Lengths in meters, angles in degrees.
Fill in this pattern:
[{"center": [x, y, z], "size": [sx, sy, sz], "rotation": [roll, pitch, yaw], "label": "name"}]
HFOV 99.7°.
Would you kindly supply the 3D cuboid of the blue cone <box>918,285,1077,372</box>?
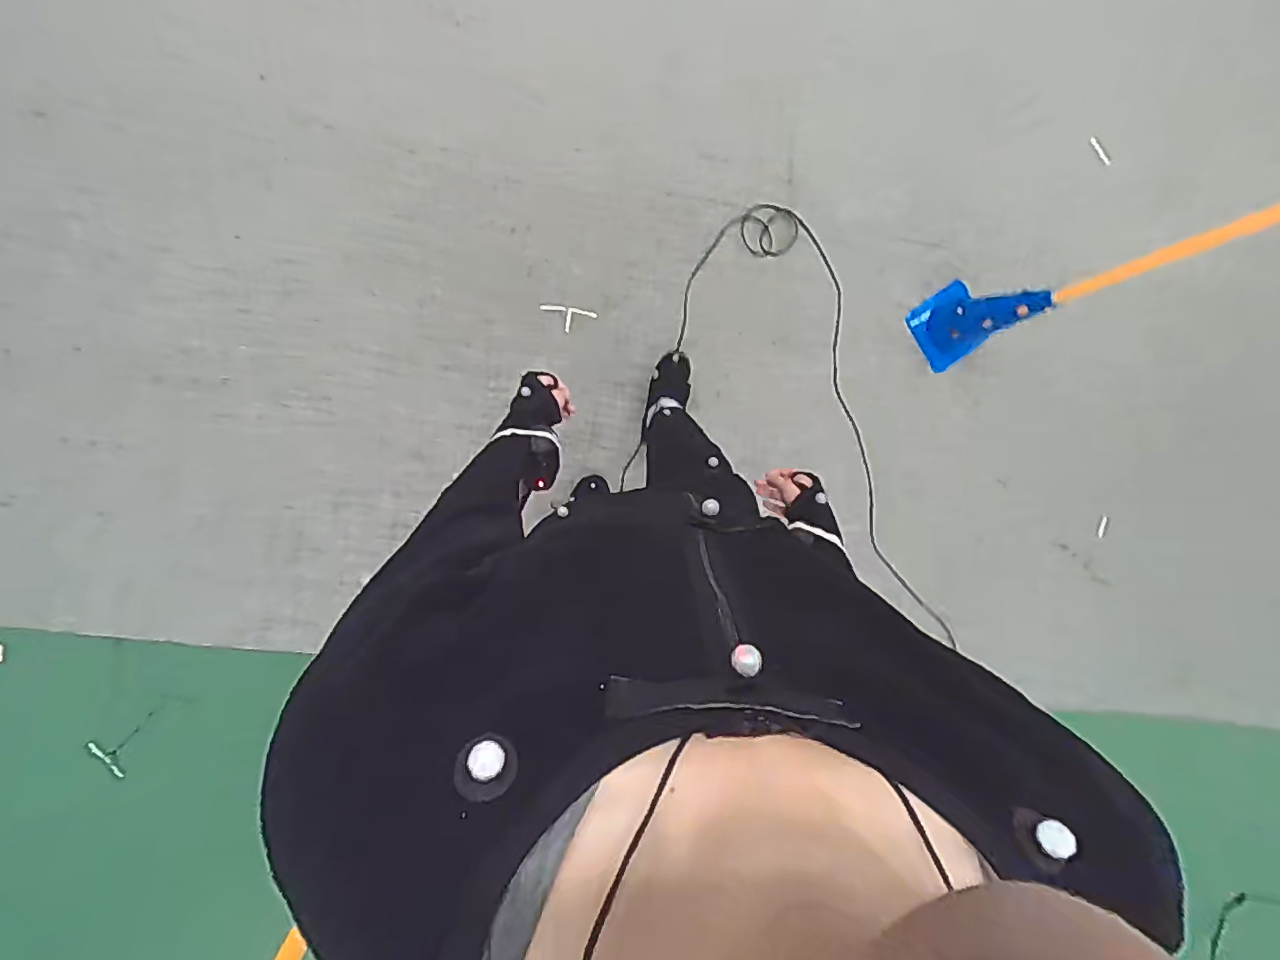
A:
[{"center": [0.904, -0.412, 1.353], "size": [0.193, 0.380, 0.192], "rotation": [-37, 99, -3], "label": "blue cone"}]
